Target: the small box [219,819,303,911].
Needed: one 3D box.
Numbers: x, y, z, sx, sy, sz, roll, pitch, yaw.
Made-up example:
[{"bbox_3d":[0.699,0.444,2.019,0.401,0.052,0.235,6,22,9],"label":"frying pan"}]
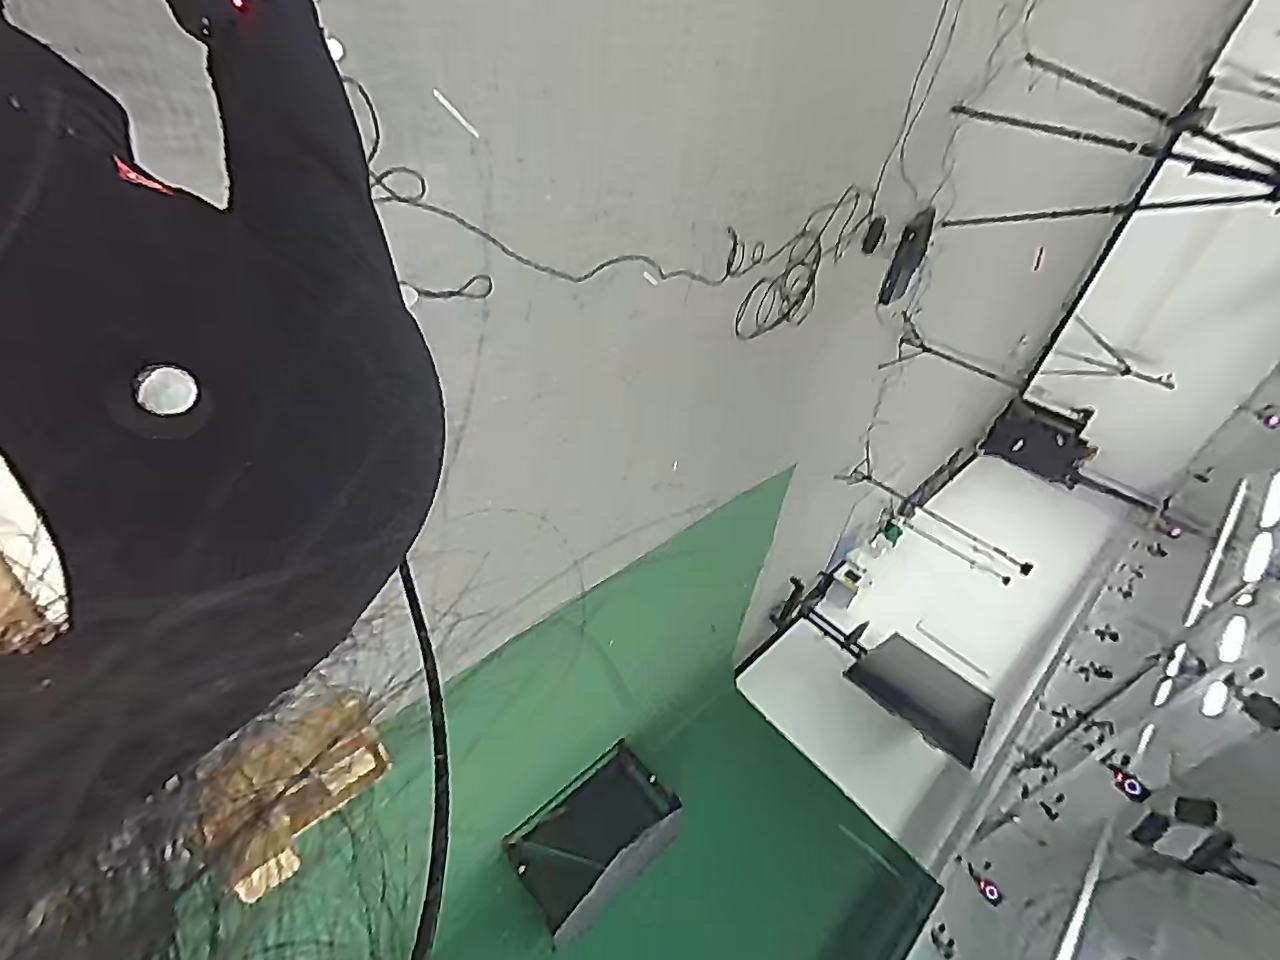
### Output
[{"bbox_3d":[-1.279,1.294,1.827,0.168,0.176,0.179,-28,139,-34],"label":"small box"}]
